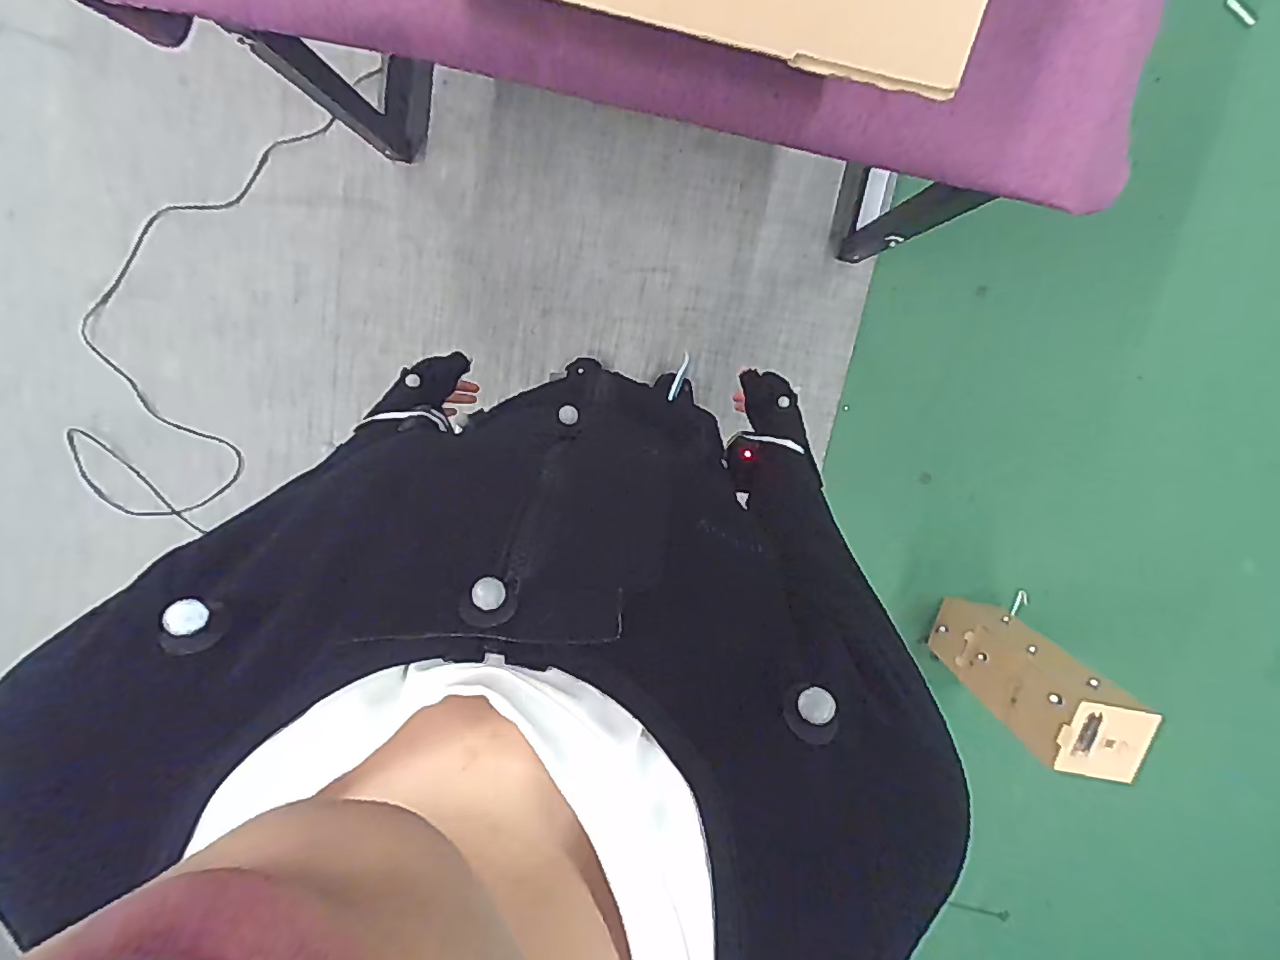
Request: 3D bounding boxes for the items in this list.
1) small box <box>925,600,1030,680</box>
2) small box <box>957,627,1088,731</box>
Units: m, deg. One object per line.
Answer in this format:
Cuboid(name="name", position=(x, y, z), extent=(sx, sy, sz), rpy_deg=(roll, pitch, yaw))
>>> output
Cuboid(name="small box", position=(0.937, 0.452, 1.502), extent=(0.179, 0.176, 0.168), rpy_deg=(13, 102, -3))
Cuboid(name="small box", position=(0.938, 0.486, 1.342), extent=(0.179, 0.176, 0.168), rpy_deg=(11, 103, -2))
